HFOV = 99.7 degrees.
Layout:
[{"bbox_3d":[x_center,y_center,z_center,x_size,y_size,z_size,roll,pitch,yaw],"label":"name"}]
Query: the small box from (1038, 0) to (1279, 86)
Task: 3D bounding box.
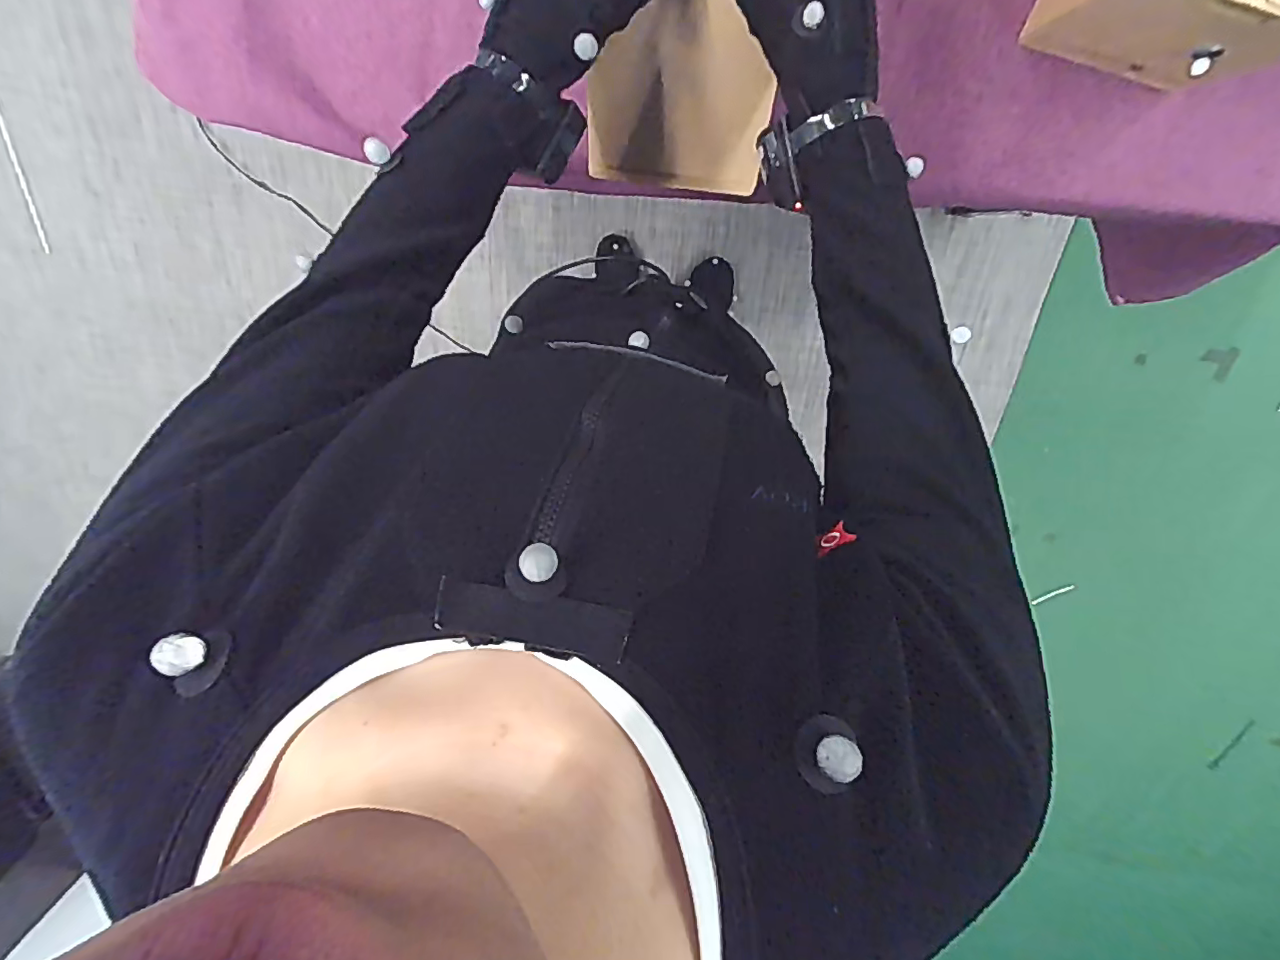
[{"bbox_3d":[0.457,-0.438,0.413,0.168,0.176,0.179,16,115,-3],"label":"small box"}]
